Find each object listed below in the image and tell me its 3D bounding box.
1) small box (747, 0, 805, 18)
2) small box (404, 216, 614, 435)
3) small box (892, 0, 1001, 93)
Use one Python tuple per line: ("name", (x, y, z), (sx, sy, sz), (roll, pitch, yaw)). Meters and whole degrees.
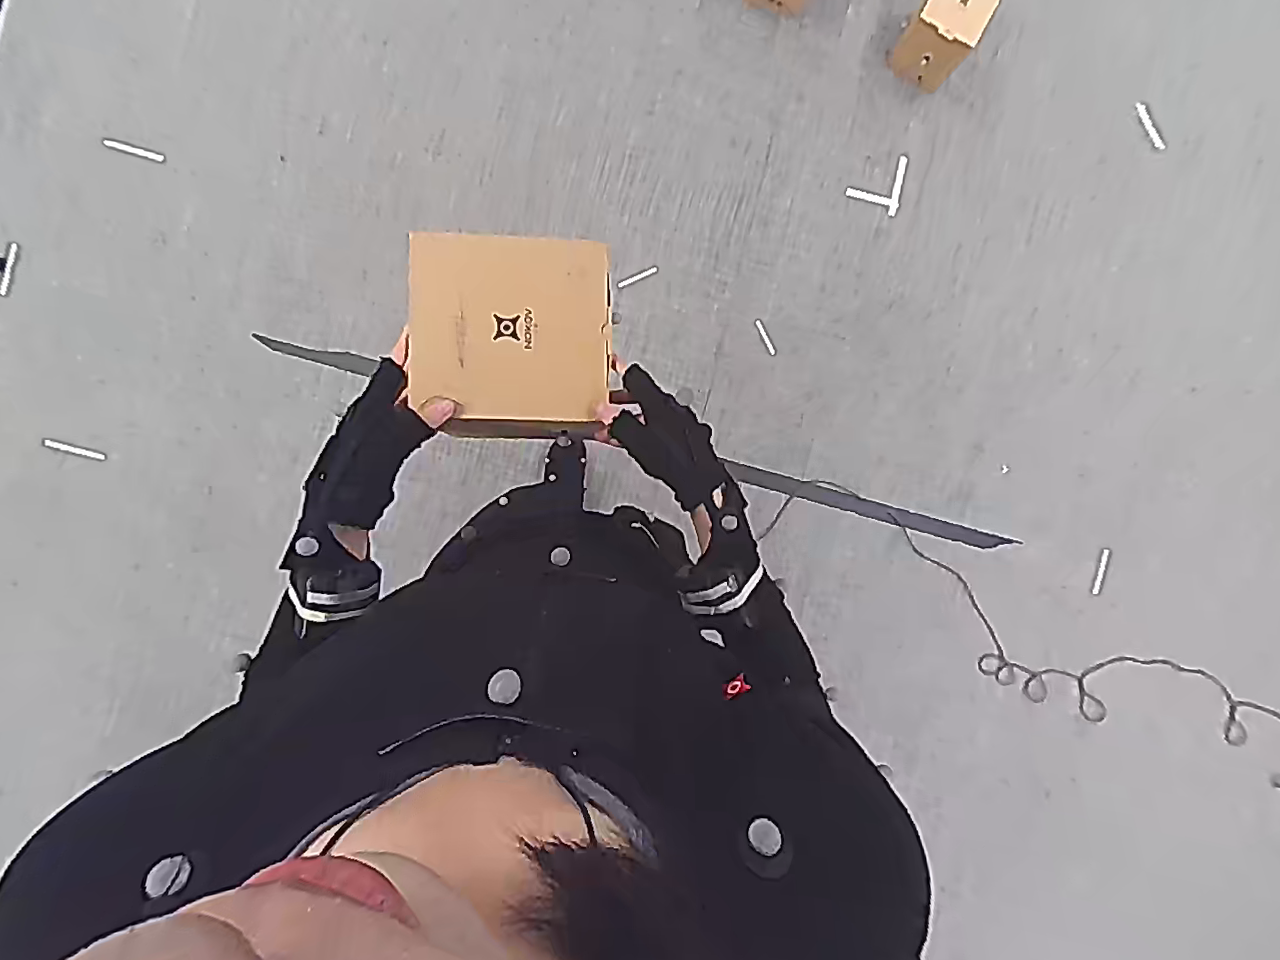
("small box", (0.392, -1.401, 1.439), (0.168, 0.176, 0.179), (13, 91, -4))
("small box", (-0.119, -0.139, 0.542), (0.179, 0.176, 0.168), (0, 87, -5))
("small box", (0.820, -1.214, 1.470), (0.168, 0.176, 0.179), (29, 90, -4))
